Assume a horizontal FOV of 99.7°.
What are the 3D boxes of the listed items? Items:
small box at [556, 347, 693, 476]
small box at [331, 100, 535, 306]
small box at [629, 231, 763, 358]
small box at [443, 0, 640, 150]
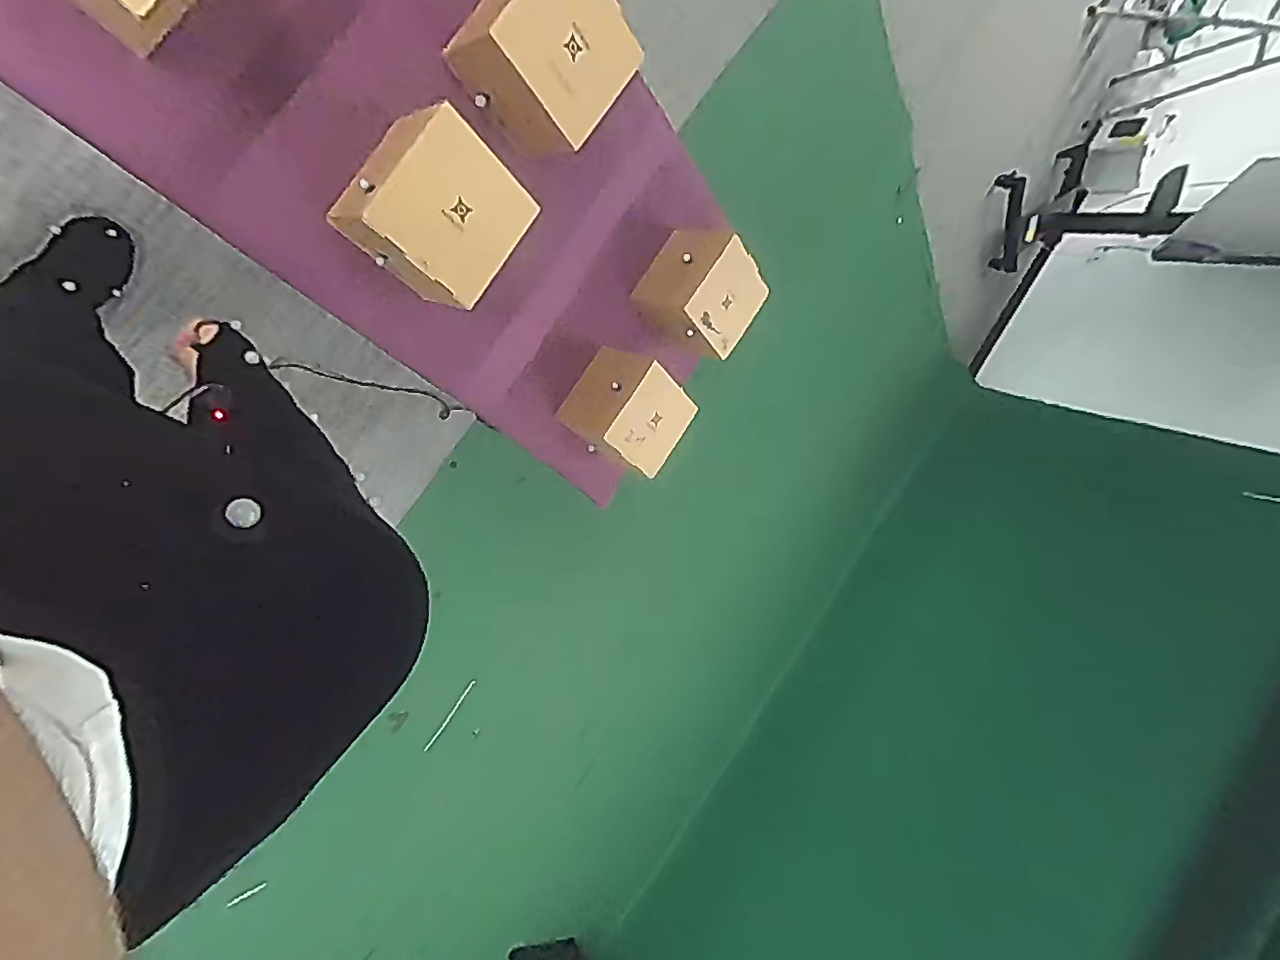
[{"bbox_3d":[-0.034,-0.141,1.071,0.179,0.176,0.168,-56,135,-6],"label":"small box"},{"bbox_3d":[-0.284,-0.369,0.734,0.179,0.176,0.168,-57,137,-4],"label":"small box"},{"bbox_3d":[0.110,-0.377,1.087,0.168,0.176,0.179,38,84,-45],"label":"small box"},{"bbox_3d":[-0.140,-0.594,0.750,0.179,0.176,0.168,-55,135,-4],"label":"small box"}]
